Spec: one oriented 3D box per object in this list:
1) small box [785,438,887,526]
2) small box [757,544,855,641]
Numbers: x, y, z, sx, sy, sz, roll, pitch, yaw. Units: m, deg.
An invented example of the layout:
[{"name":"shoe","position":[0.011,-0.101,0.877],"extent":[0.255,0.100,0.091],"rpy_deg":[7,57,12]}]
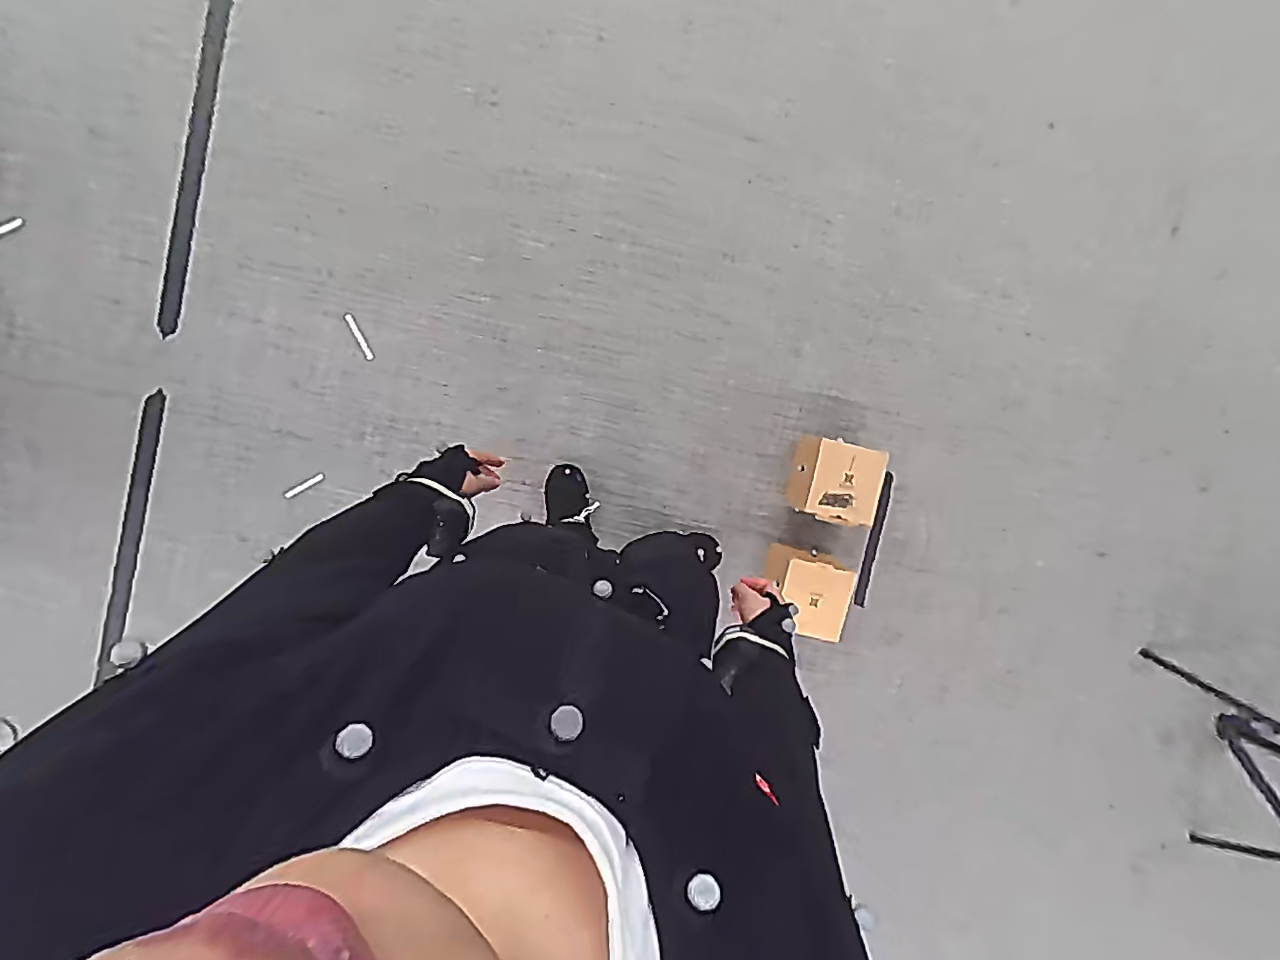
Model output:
[{"name":"small box","position":[0.471,-0.001,1.328],"extent":[0.168,0.176,0.179],"rpy_deg":[13,93,-3]},{"name":"small box","position":[0.405,0.274,1.352],"extent":[0.168,0.176,0.179],"rpy_deg":[14,94,-3]}]
